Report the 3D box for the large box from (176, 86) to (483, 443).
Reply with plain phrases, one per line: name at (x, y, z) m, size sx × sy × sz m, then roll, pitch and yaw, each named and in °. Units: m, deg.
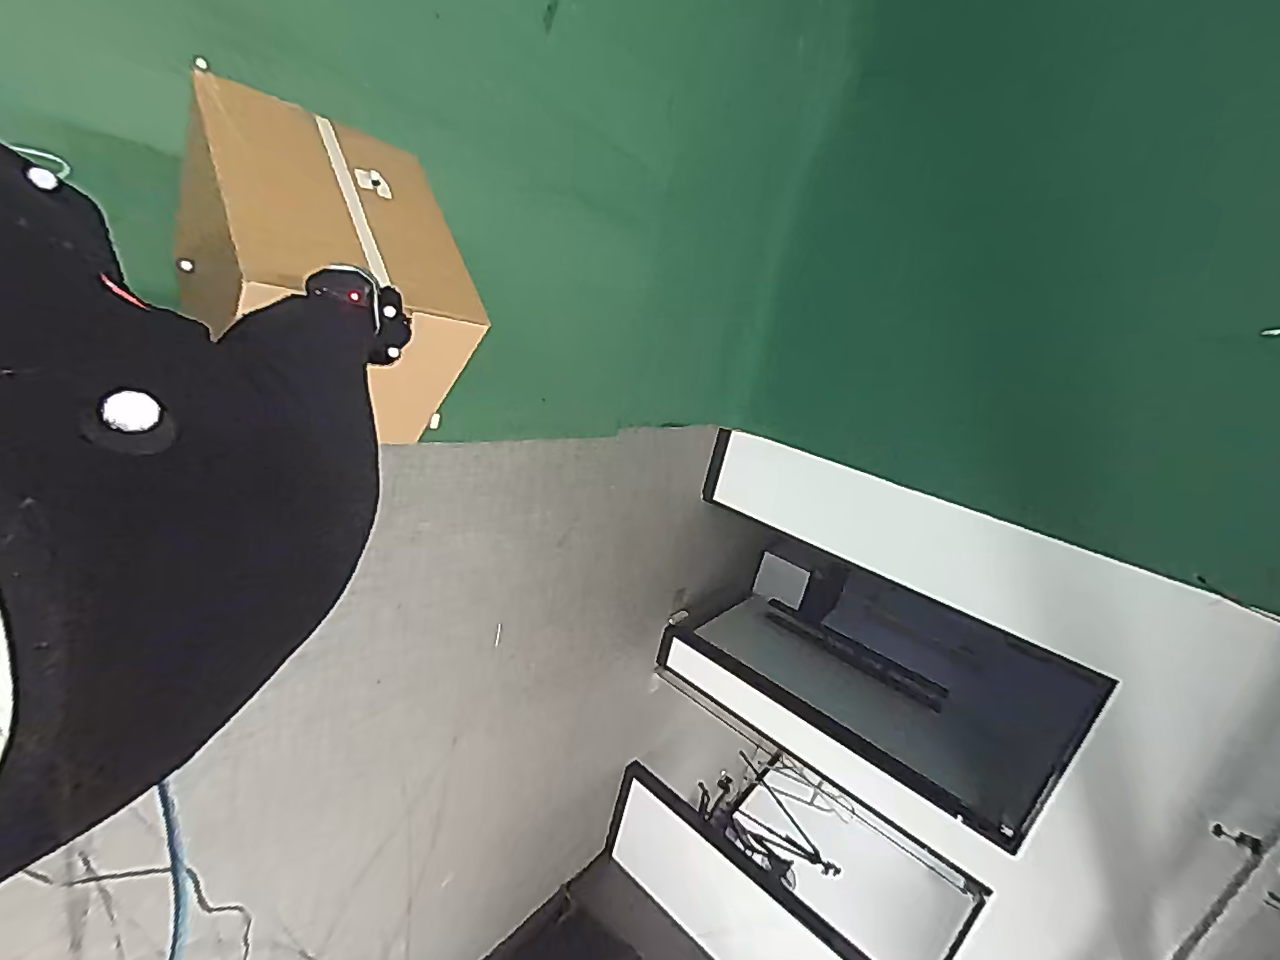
large box at (-0.518, -0.308, 0.879) m, size 0.320 × 0.408 × 0.320 m, roll -3°, pitch 148°, yaw -48°
